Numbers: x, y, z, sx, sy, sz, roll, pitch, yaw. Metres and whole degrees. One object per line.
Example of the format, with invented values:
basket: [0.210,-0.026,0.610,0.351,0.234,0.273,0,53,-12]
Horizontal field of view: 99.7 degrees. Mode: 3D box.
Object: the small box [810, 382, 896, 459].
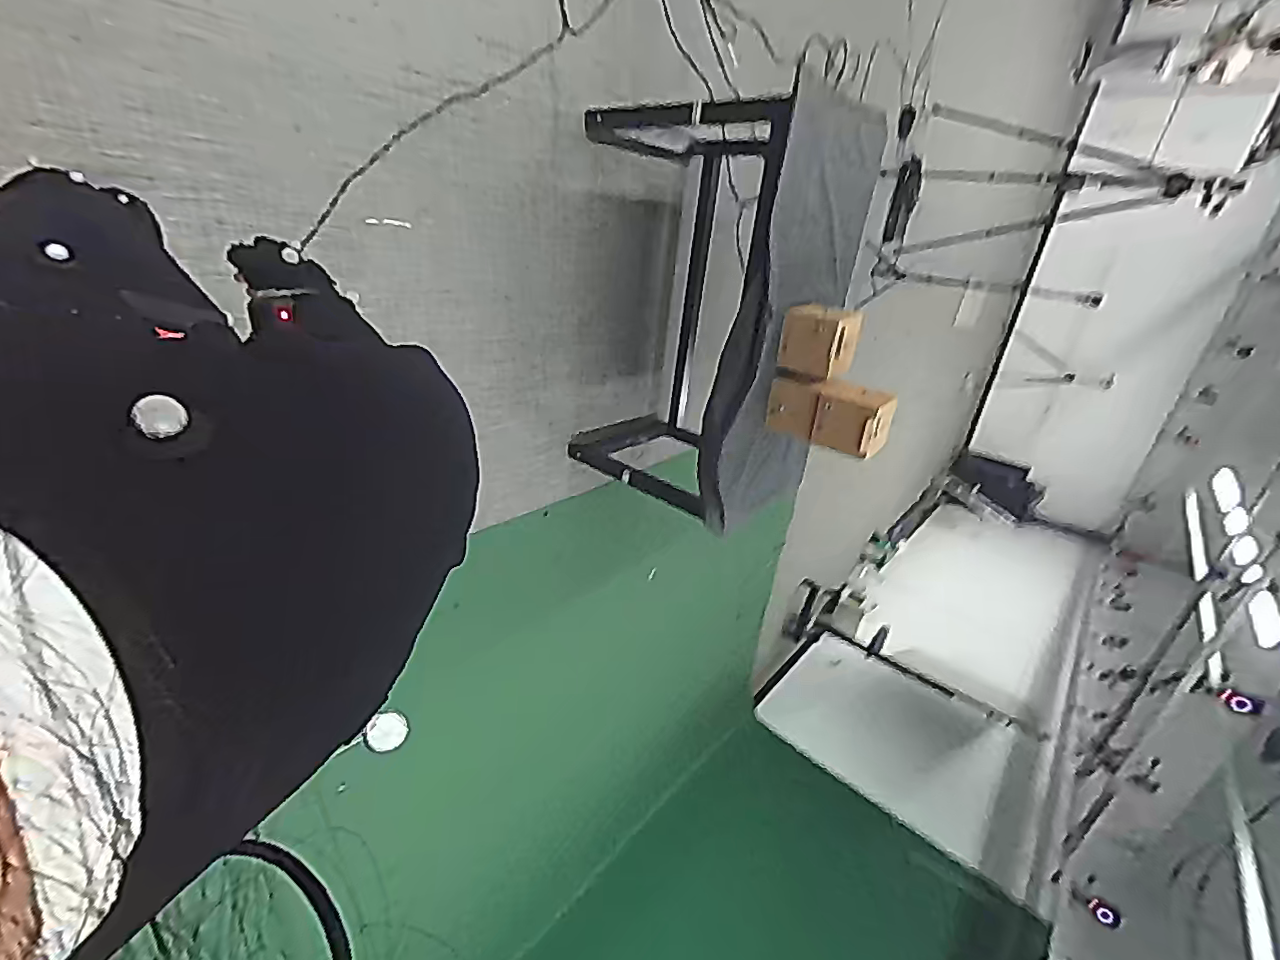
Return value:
small box: [0.627,-0.181,1.605,0.179,0.176,0.168,-25,130,-43]
